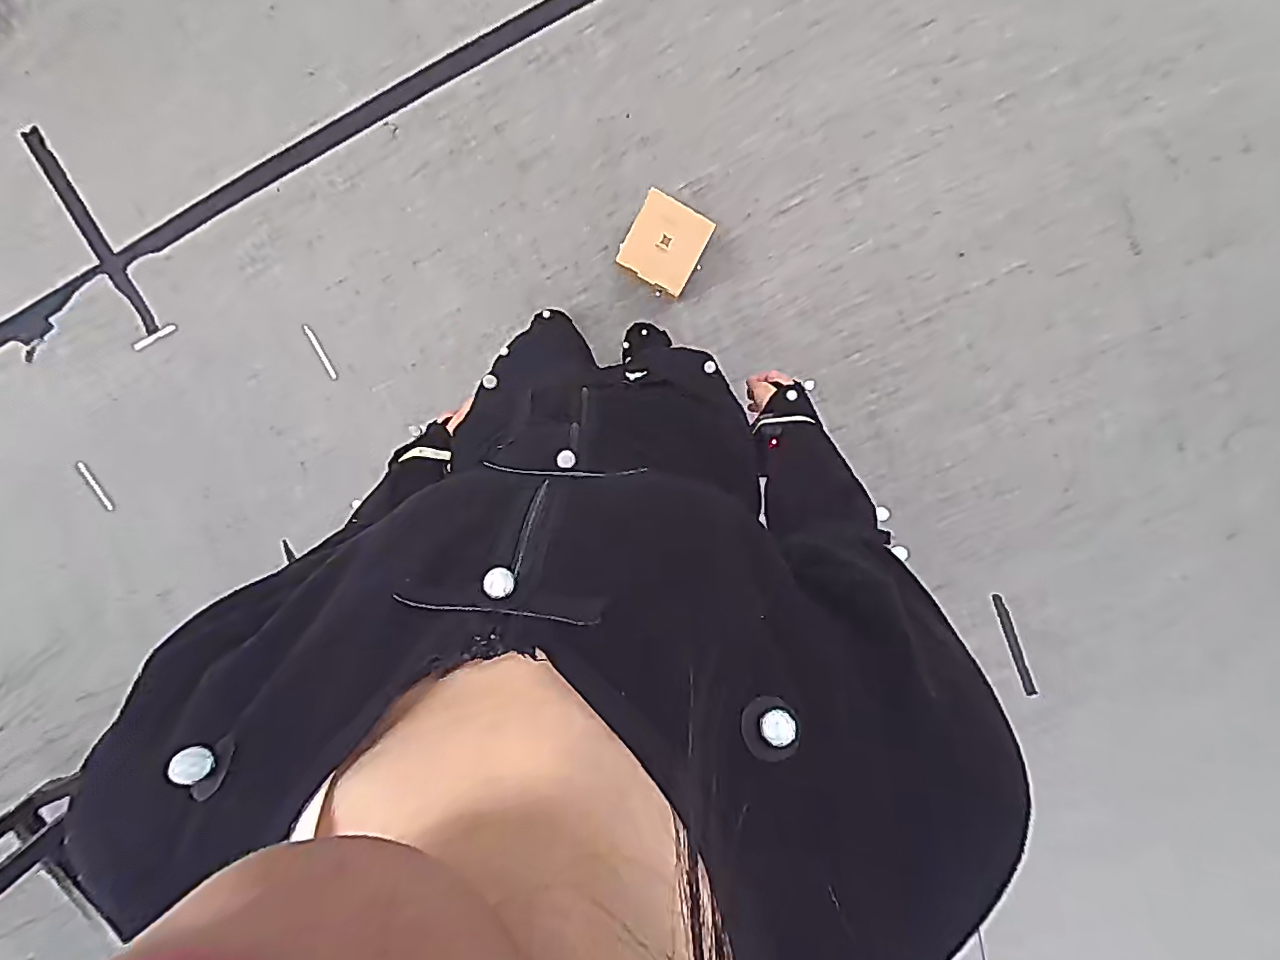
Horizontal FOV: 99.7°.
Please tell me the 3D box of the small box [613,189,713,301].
[{"bbox_3d":[0.053,-0.542,1.276,0.168,0.176,0.179,28,102,-6],"label":"small box"}]
